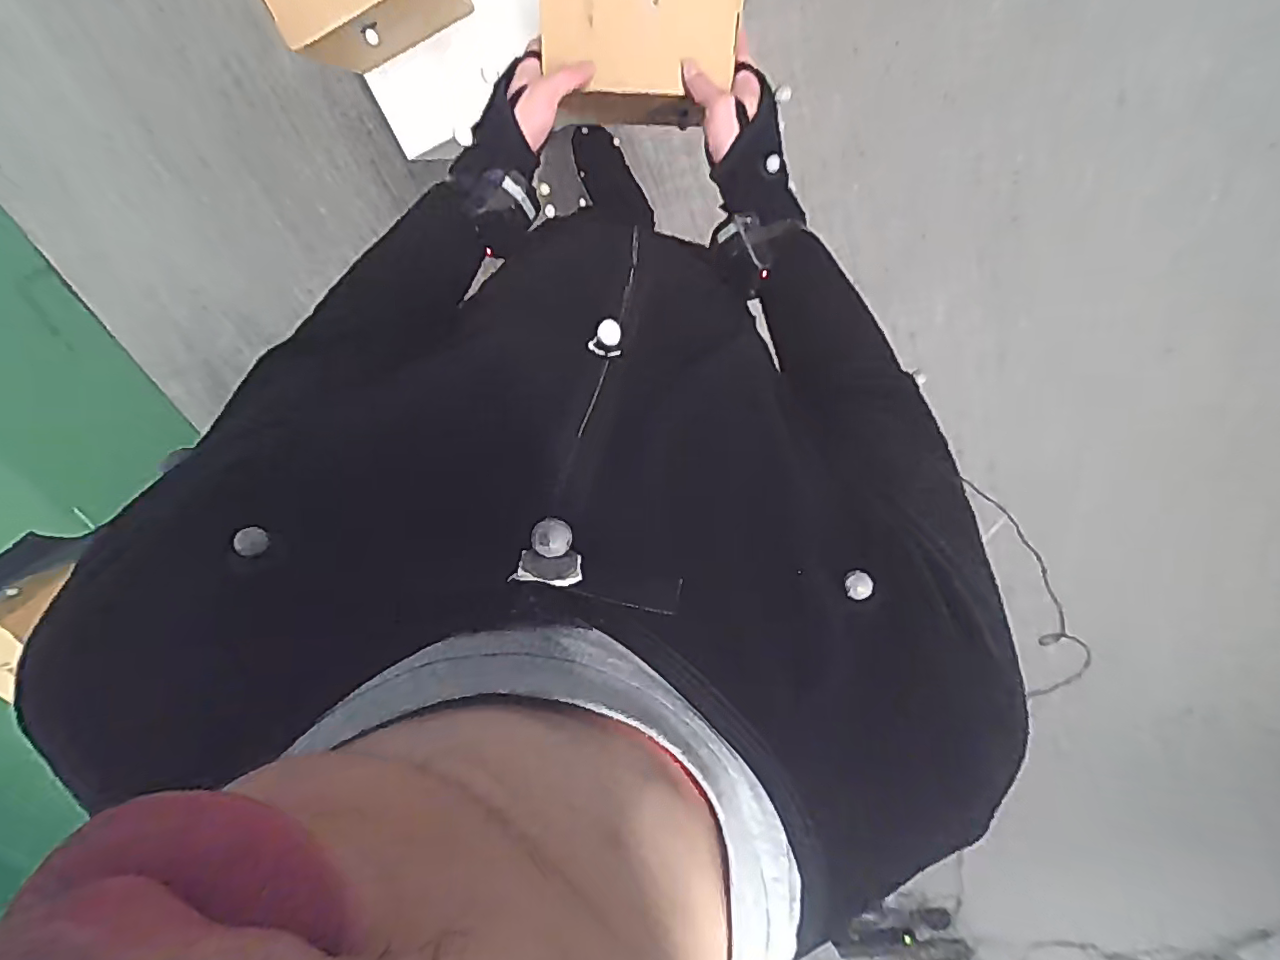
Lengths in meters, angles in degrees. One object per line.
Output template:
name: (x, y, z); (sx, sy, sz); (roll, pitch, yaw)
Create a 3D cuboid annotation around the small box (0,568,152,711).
small box: (-1.061, 0.278, 0.971); (0.168, 0.176, 0.179); (-16, 120, 11)

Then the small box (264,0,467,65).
small box: (-0.312, -0.580, 0.576); (0.179, 0.176, 0.168); (-19, 119, 10)

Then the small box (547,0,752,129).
small box: (0.012, -0.451, 0.519); (0.179, 0.176, 0.168); (3, 114, 3)
